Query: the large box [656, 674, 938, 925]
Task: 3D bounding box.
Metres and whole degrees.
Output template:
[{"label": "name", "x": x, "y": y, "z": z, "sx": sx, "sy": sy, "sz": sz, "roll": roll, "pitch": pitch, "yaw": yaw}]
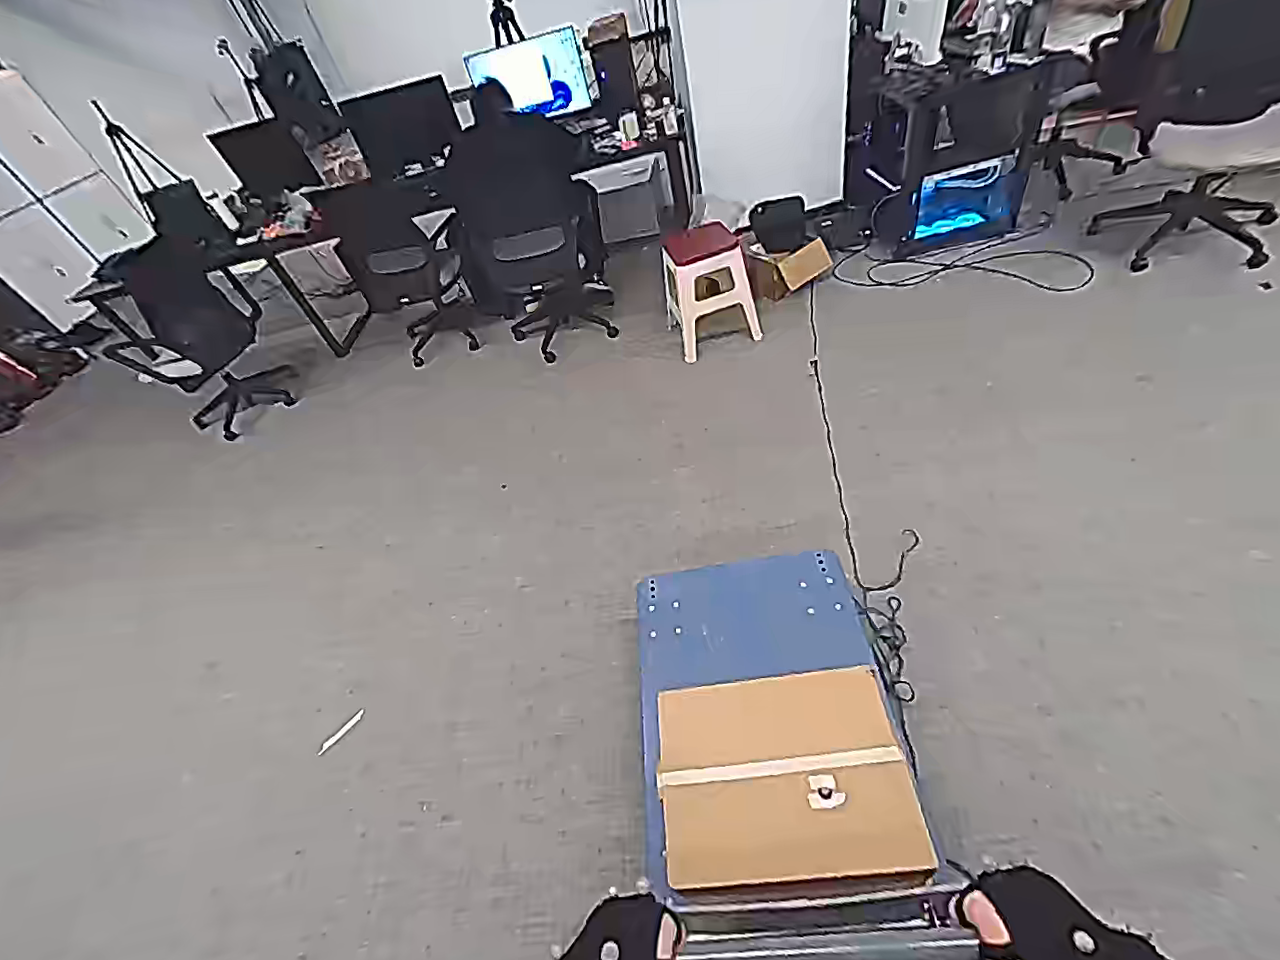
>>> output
[{"label": "large box", "x": 0.261, "y": 0.600, "z": 1.008, "sx": 0.408, "sy": 0.320, "sz": 0.320, "roll": -10, "pitch": 46, "yaw": 7}]
